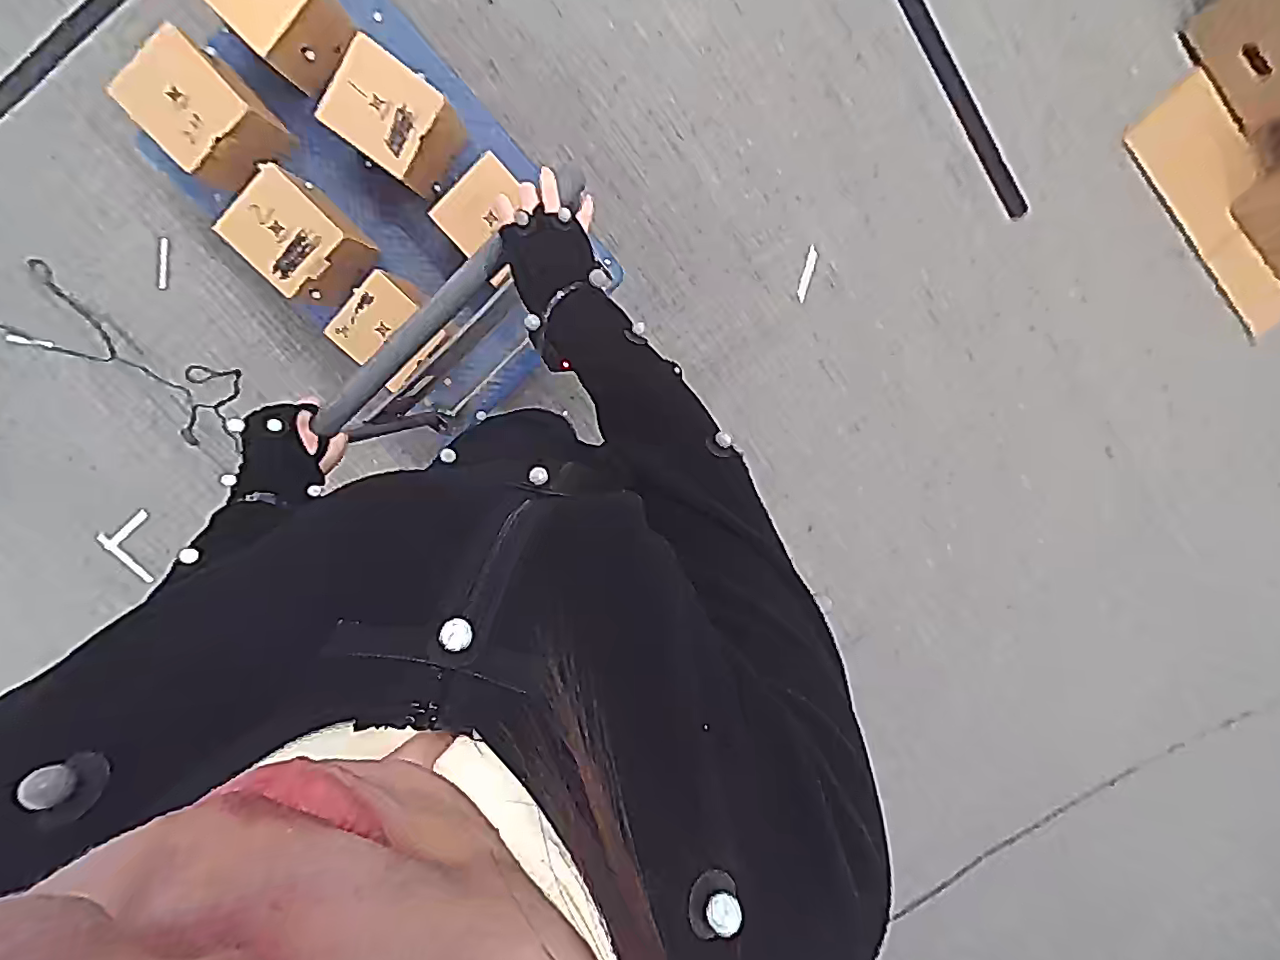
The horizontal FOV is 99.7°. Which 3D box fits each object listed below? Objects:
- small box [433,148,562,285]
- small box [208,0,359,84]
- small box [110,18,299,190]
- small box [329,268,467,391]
[{"bbox_3d":[-0.274,-0.513,1.089,0.168,0.176,0.179,-42,102,6],"label":"small box"},{"bbox_3d":[-0.654,-0.866,0.979,0.179,0.176,0.168,43,98,-12],"label":"small box"},{"bbox_3d":[-0.800,-0.685,1.014,0.168,0.176,0.179,-41,104,7],"label":"small box"},{"bbox_3d":[-0.489,-0.310,1.126,0.179,0.176,0.168,43,97,-12],"label":"small box"}]
